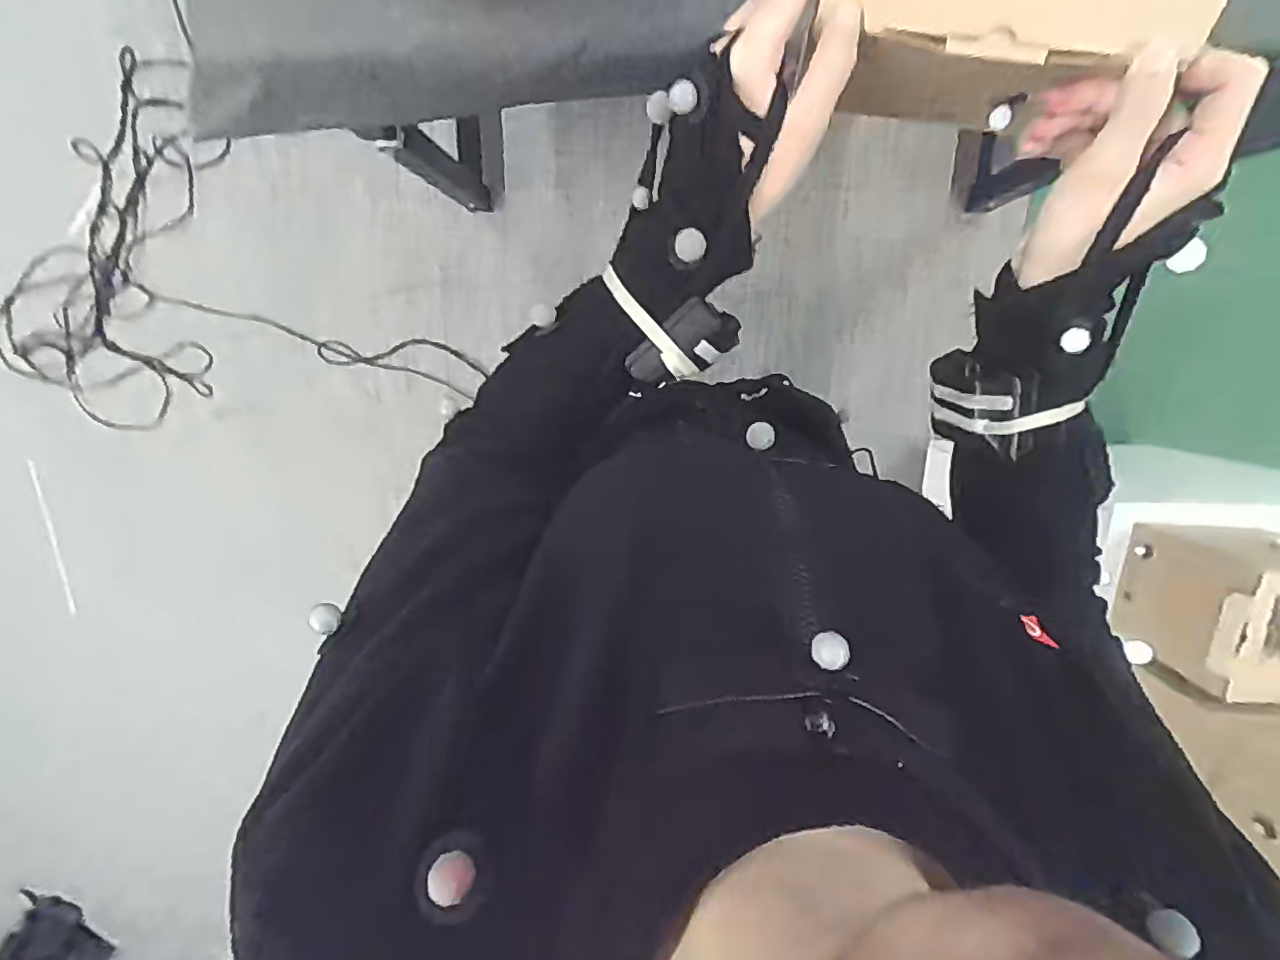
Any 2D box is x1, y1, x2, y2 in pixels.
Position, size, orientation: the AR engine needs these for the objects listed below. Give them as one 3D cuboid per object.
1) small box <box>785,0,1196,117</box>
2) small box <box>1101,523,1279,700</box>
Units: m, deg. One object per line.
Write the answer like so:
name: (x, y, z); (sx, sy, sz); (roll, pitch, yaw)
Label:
small box: (0.176, -0.309, 0.278); (0.168, 0.176, 0.179); (10, 115, 5)
small box: (0.754, 0.159, 0.693); (0.179, 0.176, 0.168); (2, 104, 1)
